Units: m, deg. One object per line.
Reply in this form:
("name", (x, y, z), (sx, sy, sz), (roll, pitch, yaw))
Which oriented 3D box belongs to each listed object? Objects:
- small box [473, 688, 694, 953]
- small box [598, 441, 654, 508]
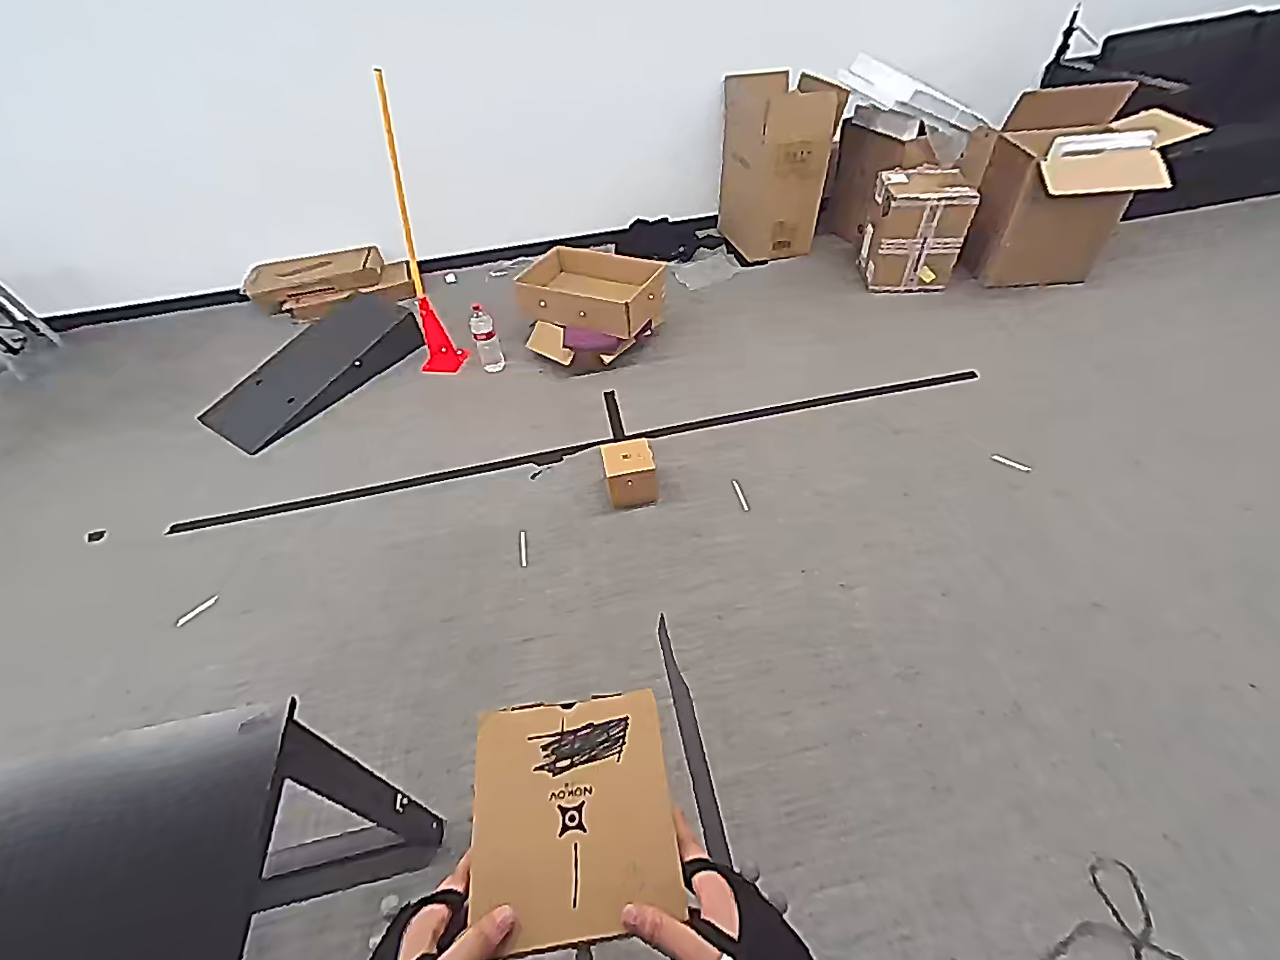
("small box", (-0.051, 0.321, 0.510), (0.168, 0.176, 0.179), (-5, 50, -5))
("small box", (-0.048, -0.016, 1.984), (0.179, 0.176, 0.168), (-10, 47, -5))
